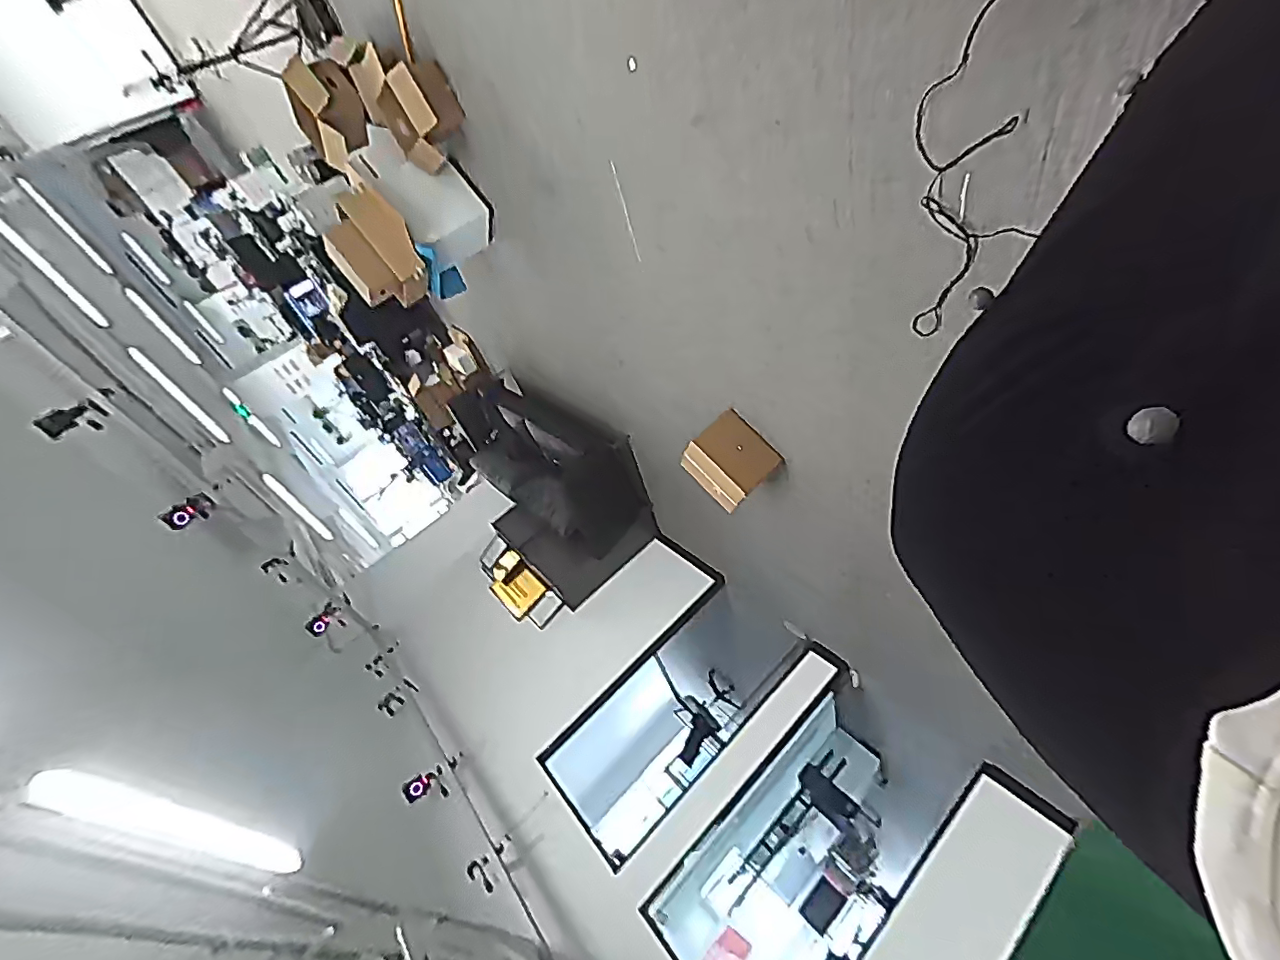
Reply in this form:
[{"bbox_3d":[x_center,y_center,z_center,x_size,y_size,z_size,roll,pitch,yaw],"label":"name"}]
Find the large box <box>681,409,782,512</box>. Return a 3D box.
[{"bbox_3d":[0.489,-0.107,2.964,0.408,0.320,0.320,45,161,11],"label":"large box"}]
